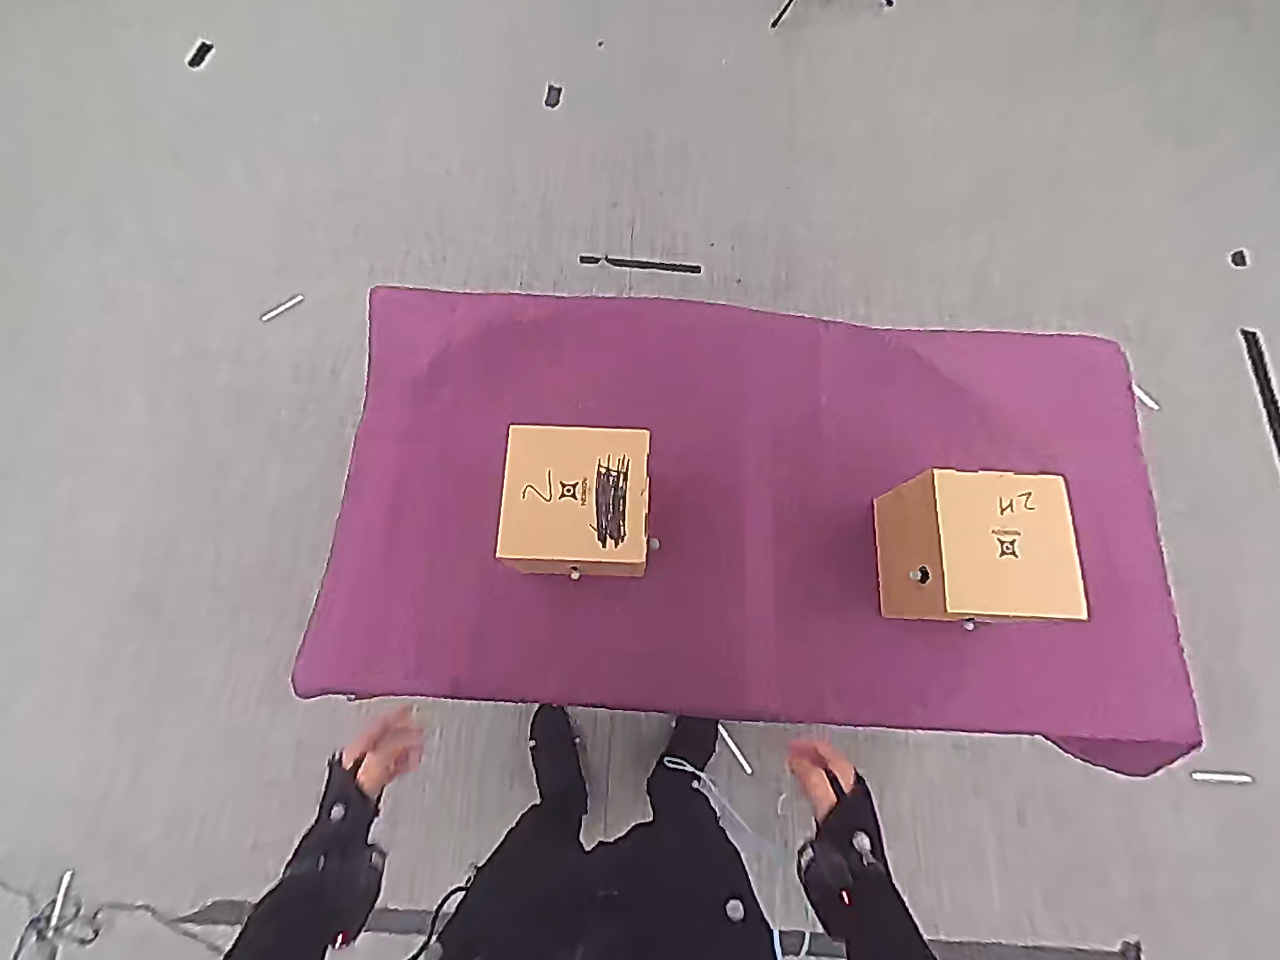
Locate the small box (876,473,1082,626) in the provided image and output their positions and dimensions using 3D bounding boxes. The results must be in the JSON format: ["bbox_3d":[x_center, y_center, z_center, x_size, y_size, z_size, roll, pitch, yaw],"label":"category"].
[{"bbox_3d":[0.435,0.101,0.725,0.168,0.176,0.179,4,74,-1],"label":"small box"}]
